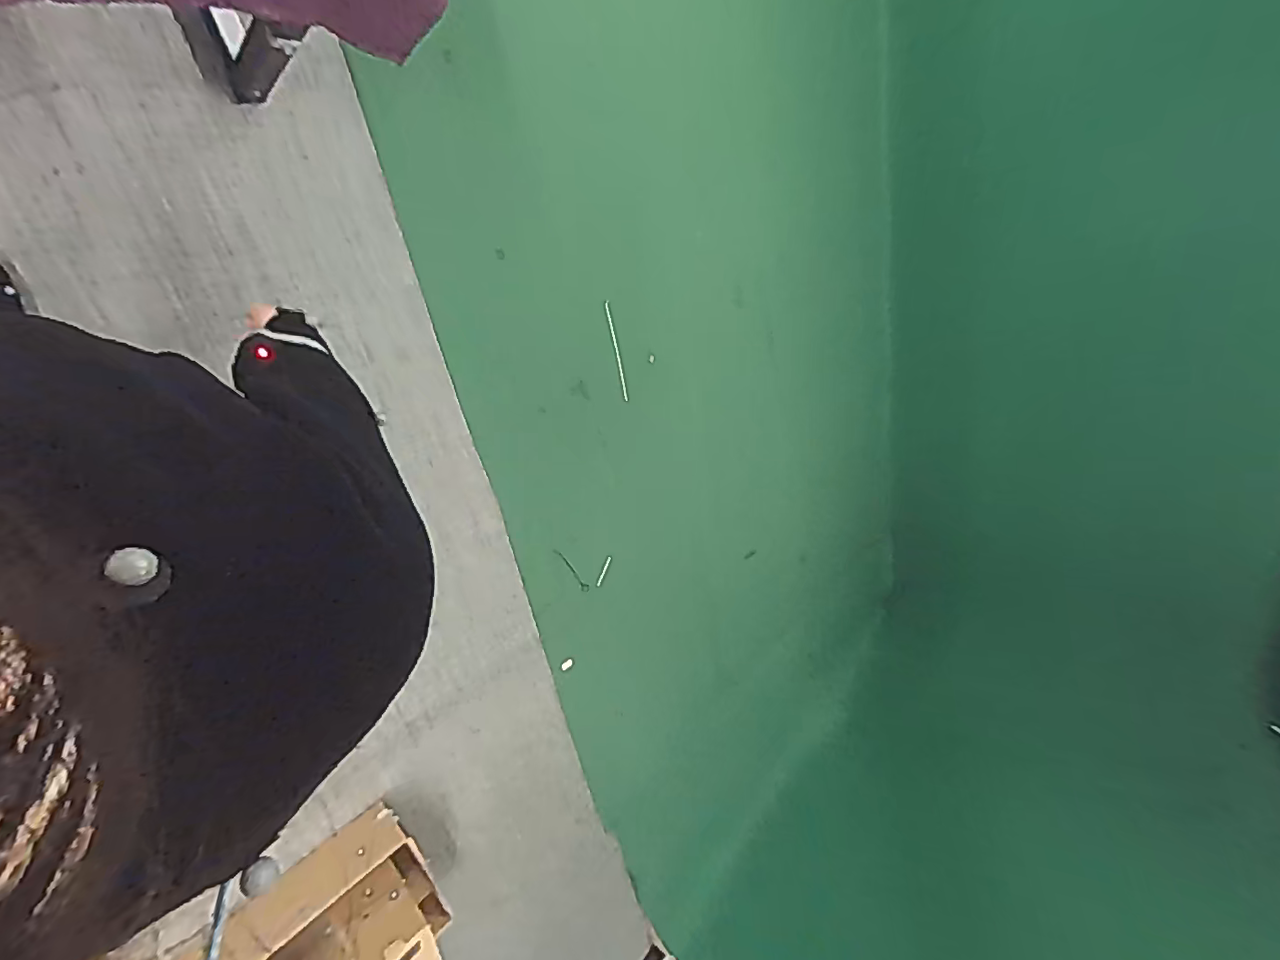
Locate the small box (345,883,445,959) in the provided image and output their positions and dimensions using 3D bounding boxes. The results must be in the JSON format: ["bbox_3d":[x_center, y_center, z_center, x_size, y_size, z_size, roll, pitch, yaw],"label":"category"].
[{"bbox_3d":[-0.631,1.192,1.389,0.168,0.176,0.179,-23,116,-39],"label":"small box"}]
